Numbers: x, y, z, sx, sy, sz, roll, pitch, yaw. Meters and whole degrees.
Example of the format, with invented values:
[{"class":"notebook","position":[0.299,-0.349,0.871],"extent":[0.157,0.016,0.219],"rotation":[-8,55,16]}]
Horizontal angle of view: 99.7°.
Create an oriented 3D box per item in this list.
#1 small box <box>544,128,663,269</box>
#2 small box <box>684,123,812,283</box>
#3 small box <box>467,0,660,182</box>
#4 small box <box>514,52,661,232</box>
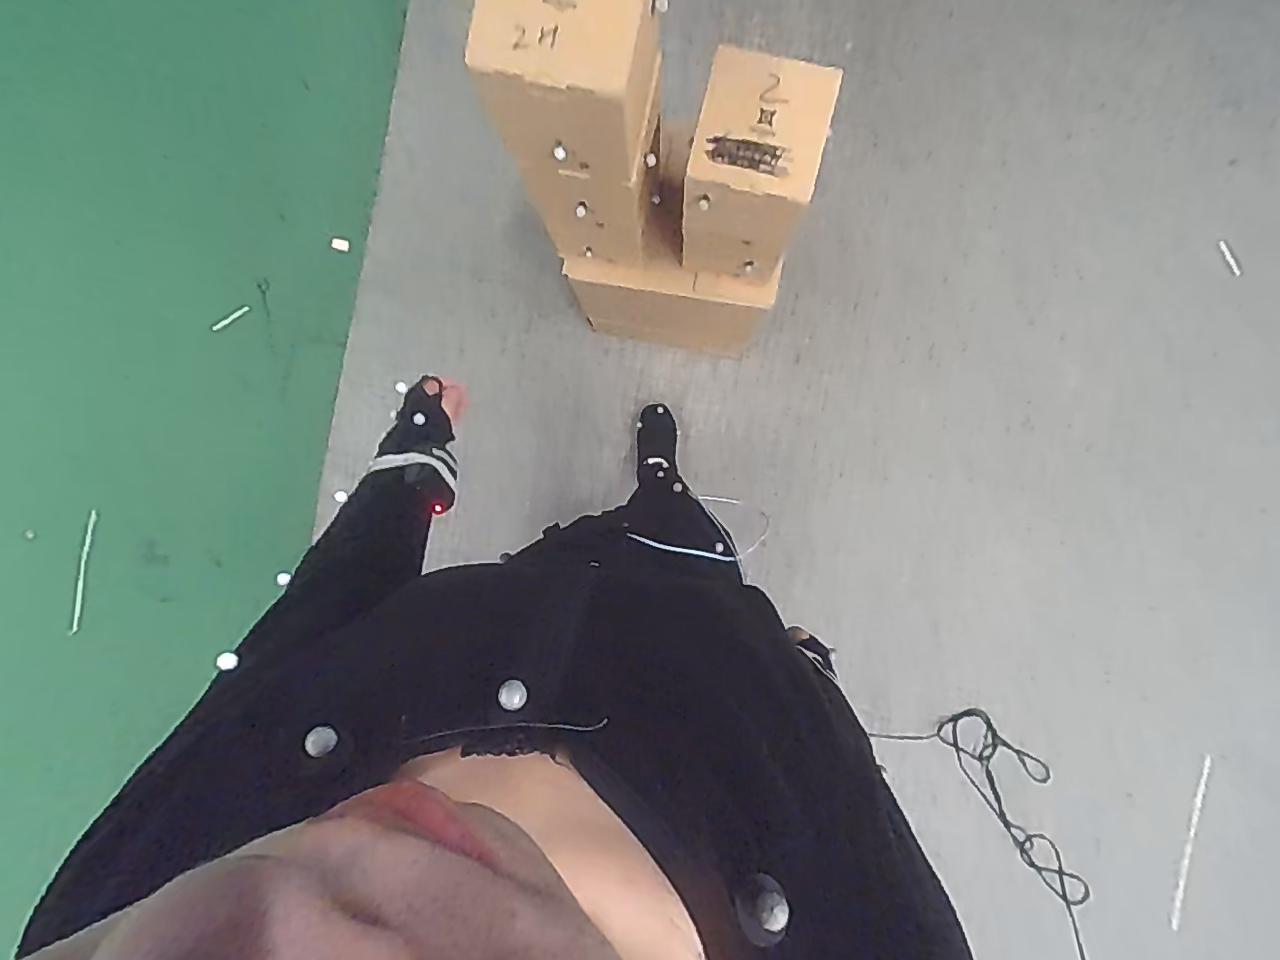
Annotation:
[{"class":"small box","position":[-0.058,-0.496,0.942],"extent":[0.168,0.176,0.179],"rotation":[11,93,1]},{"class":"small box","position":[0.177,-0.462,0.932],"extent":[0.168,0.176,0.179],"rotation":[14,91,3]},{"class":"small box","position":[-0.074,-0.481,0.614],"extent":[0.168,0.176,0.179],"rotation":[13,93,1]},{"class":"small box","position":[-0.065,-0.484,0.779],"extent":[0.168,0.176,0.179],"rotation":[12,94,1]}]
